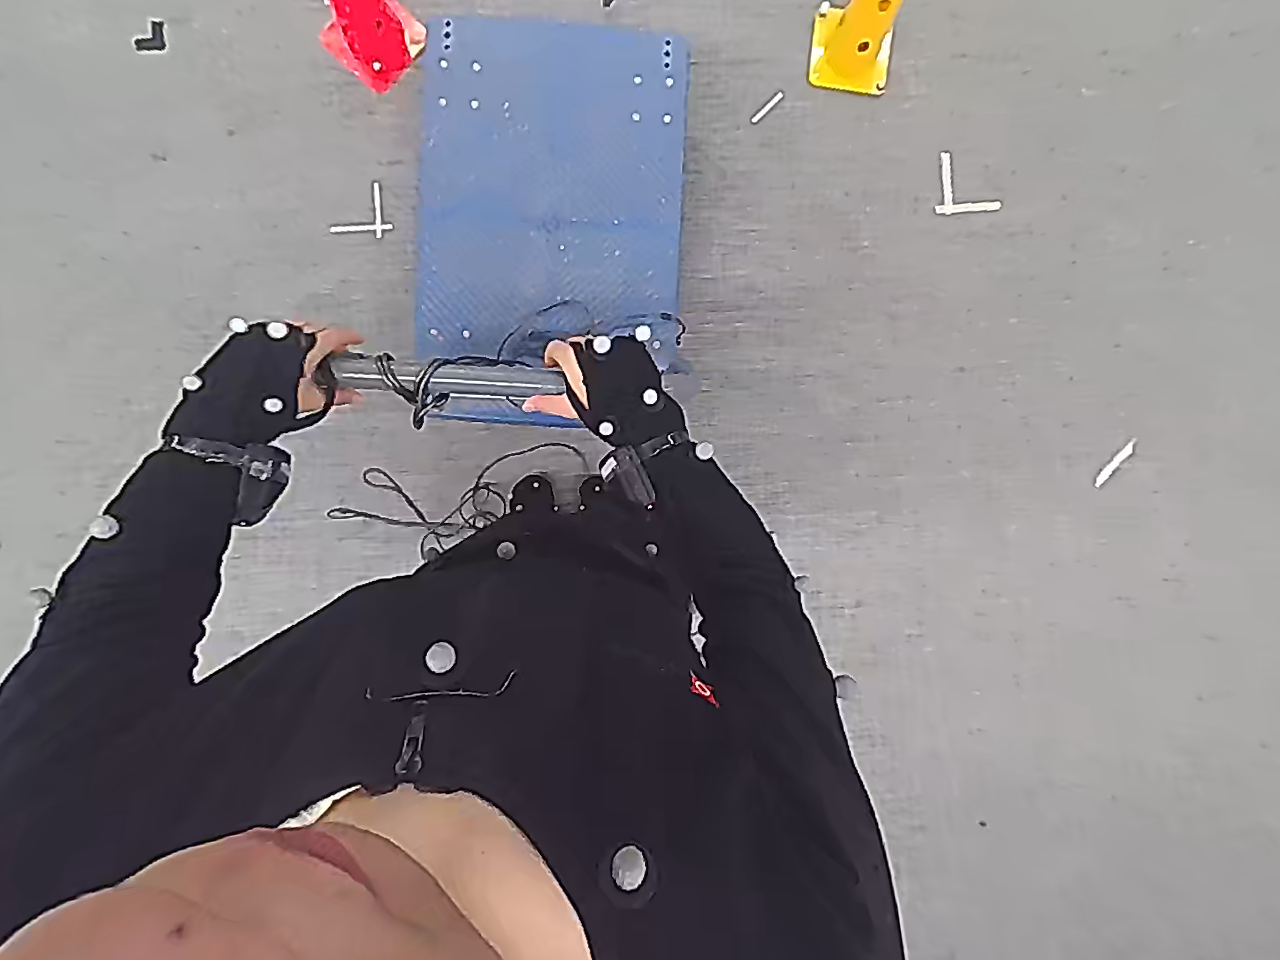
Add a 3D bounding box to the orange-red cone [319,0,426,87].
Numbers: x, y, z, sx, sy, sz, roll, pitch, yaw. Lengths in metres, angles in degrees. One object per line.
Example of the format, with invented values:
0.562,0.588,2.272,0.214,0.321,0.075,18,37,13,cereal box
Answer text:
-0.637,-1.083,1.145,0.198,0.360,0.199,43,88,-4,orange-red cone
